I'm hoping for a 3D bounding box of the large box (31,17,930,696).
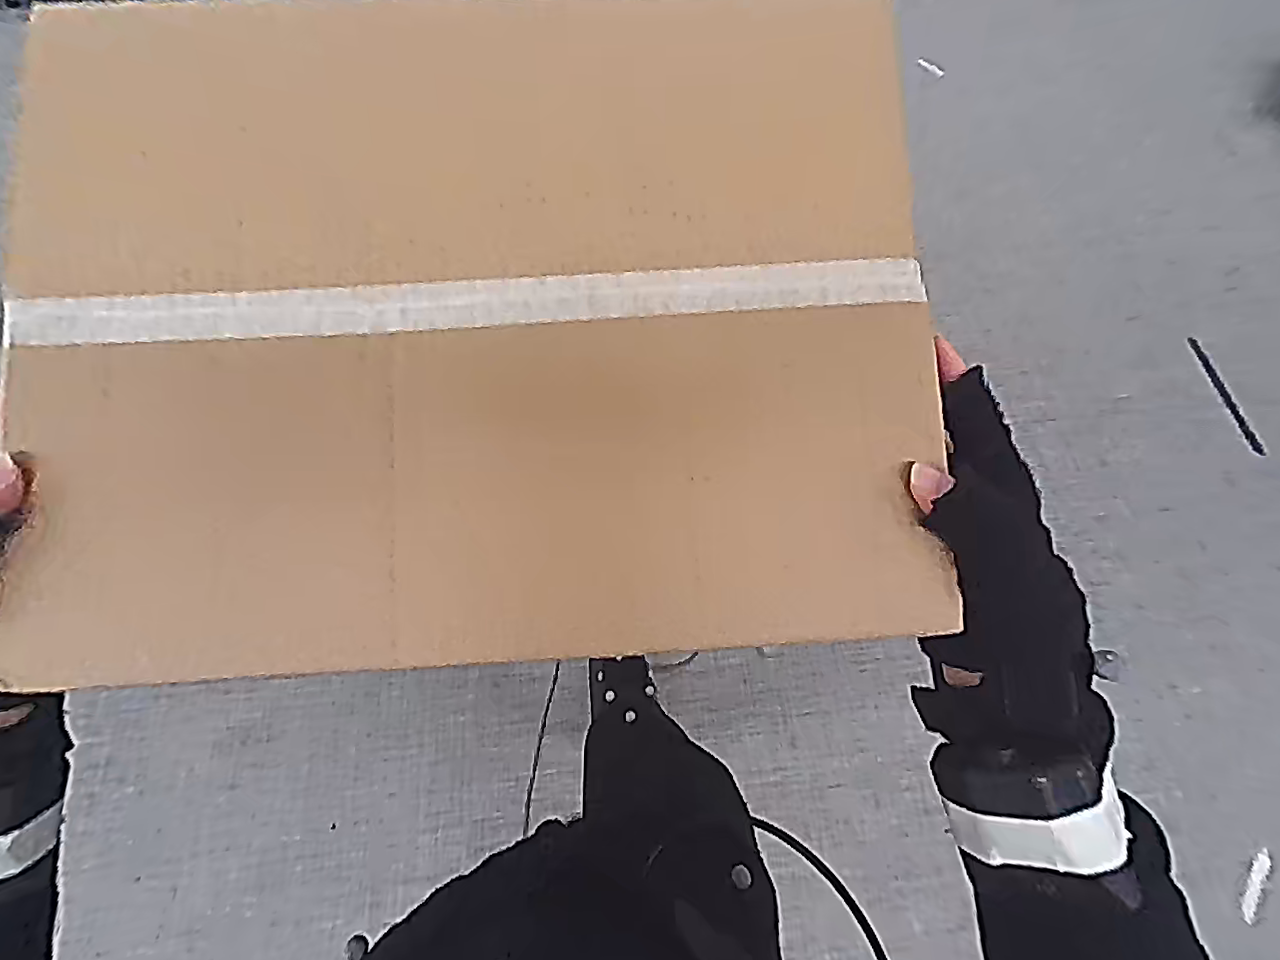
[{"bbox_3d":[-0.076,-0.056,0.402,0.408,0.320,0.320,-3,83,-1],"label":"large box"}]
